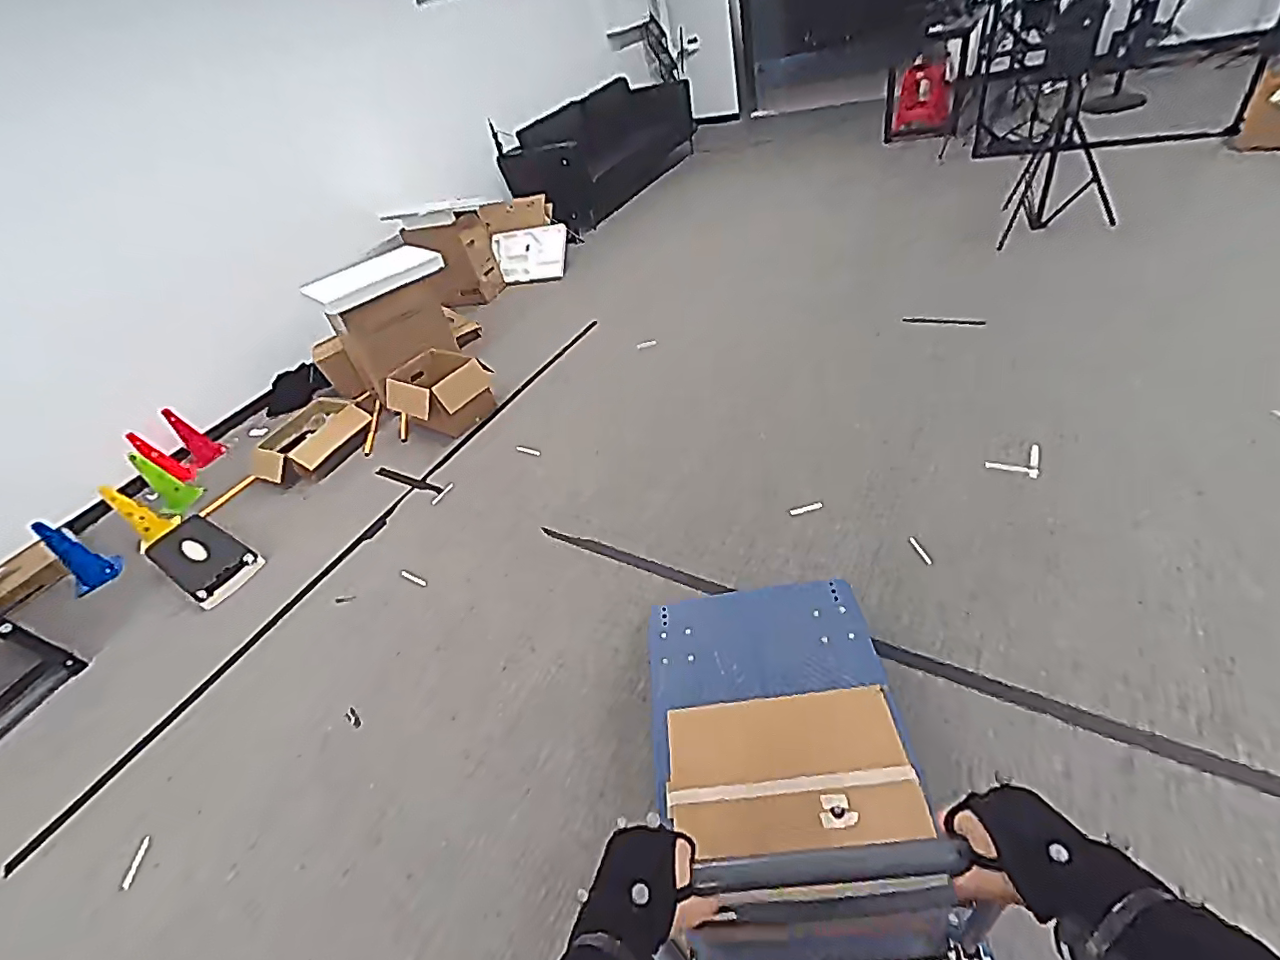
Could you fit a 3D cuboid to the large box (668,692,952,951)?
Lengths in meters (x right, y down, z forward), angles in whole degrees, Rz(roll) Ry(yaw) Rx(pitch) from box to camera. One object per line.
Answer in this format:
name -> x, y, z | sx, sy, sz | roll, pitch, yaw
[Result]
large box -> 0.281, 0.636, 1.004 | 0.408, 0.320, 0.320 | -10, 42, 7
